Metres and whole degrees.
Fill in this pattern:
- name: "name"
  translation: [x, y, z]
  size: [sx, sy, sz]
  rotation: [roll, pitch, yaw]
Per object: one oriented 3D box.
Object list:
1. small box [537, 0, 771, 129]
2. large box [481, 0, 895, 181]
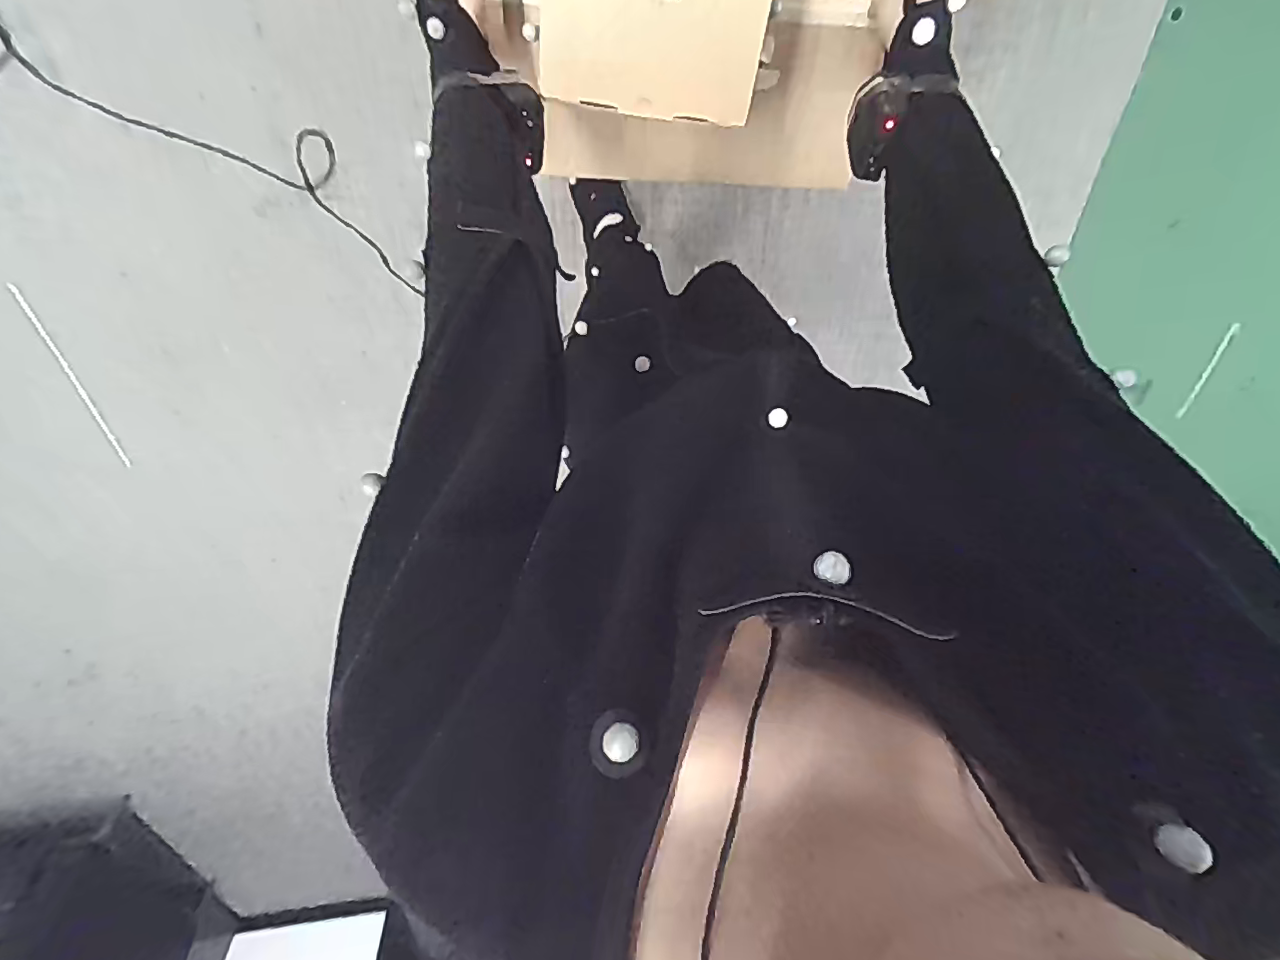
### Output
- name: "small box"
  translation: [0.007, -0.402, 0.429]
  size: [0.168, 0.176, 0.179]
  rotation: [3, 129, -7]
- name: "large box"
  translation: [0.038, -0.553, 0.624]
  size: [0.408, 0.320, 0.320]
  rotation: [0, 130, -5]
